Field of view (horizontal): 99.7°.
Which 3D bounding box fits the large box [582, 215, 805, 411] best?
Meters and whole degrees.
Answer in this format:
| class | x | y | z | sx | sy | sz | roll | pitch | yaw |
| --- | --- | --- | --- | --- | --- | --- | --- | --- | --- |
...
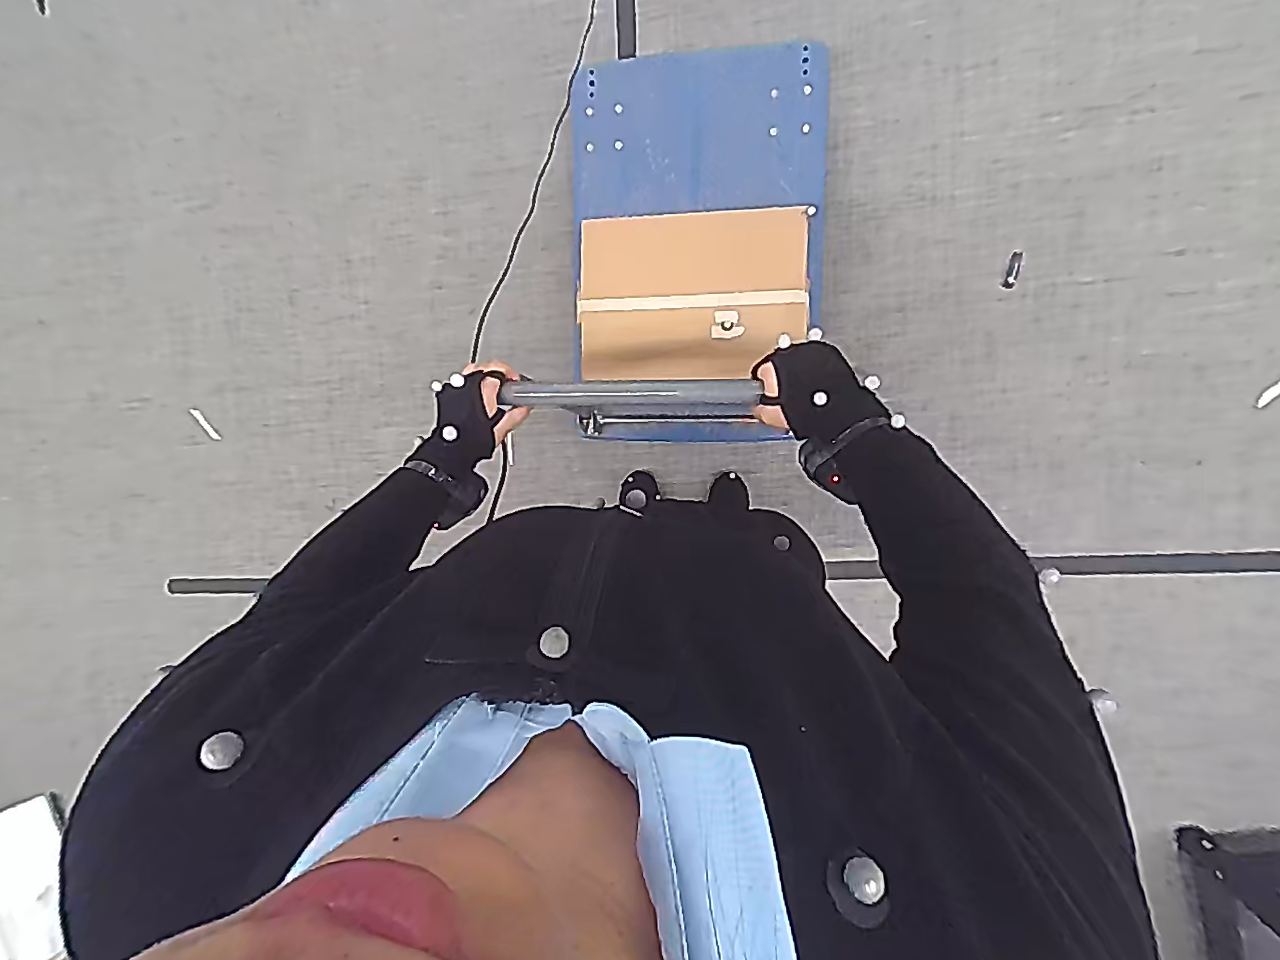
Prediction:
| class | x | y | z | sx | sy | sz | roll | pitch | yaw |
| --- | --- | --- | --- | --- | --- | --- | --- | --- | --- |
| large box | 0.110 | -0.314 | 1.119 | 0.408 | 0.320 | 0.320 | 0 | 94 | 8 |
